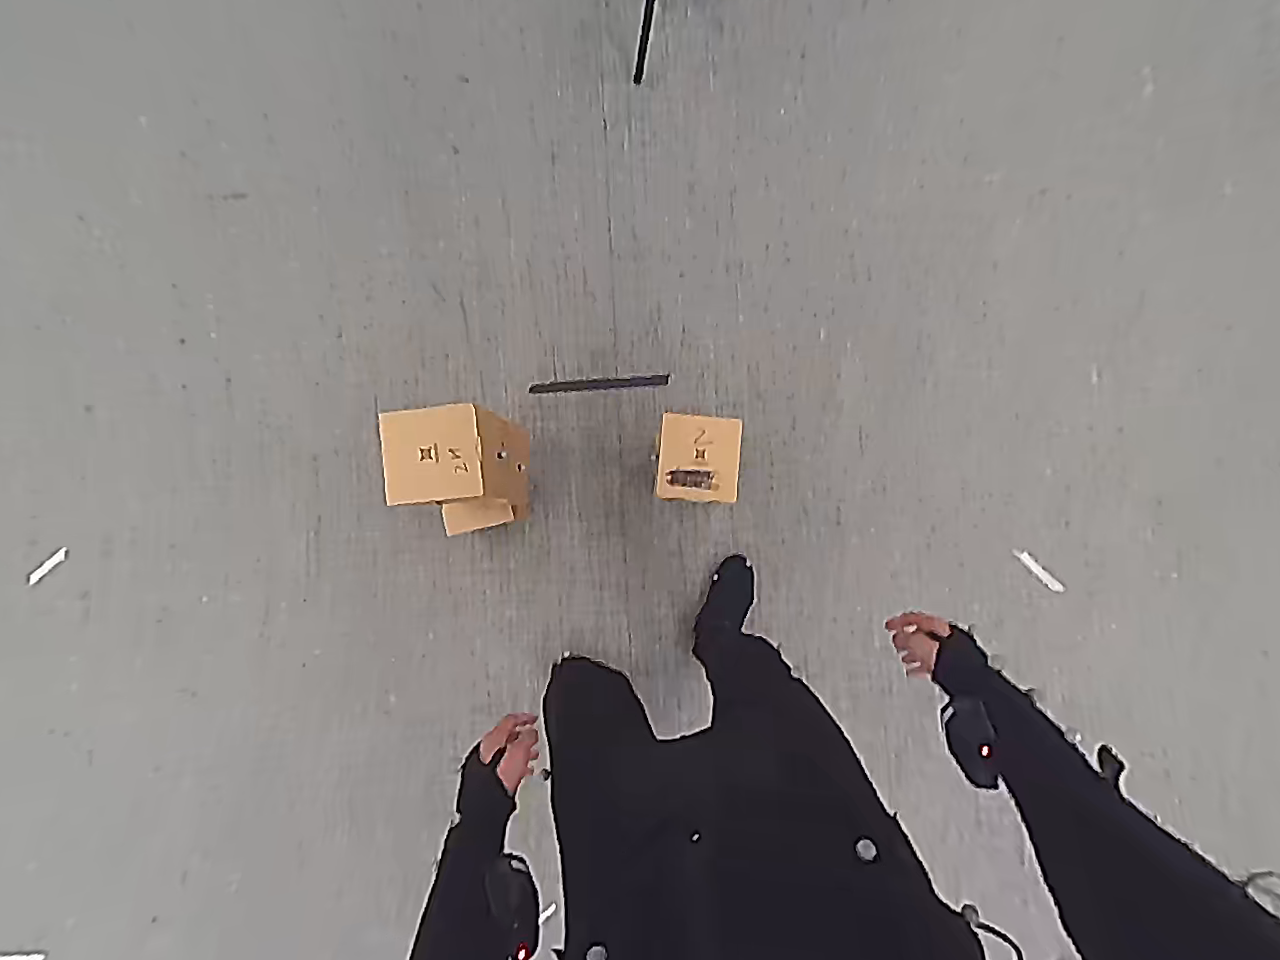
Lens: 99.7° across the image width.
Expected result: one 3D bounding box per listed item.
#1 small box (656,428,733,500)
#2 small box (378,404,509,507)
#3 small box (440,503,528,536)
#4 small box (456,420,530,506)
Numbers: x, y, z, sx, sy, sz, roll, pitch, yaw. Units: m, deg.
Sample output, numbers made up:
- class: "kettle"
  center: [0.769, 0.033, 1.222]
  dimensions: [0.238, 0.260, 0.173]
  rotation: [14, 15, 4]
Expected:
- class: "small box"
  center: [0.128, -0.034, 1.335]
  dimensions: [0.179, 0.176, 0.168]
  rotation: [-2, 88, 0]
- class: "small box"
  center: [-0.359, -0.039, 1.013]
  dimensions: [0.179, 0.176, 0.168]
  rotation: [-6, 87, 1]
- class: "small box"
  center: [-0.388, 0.034, 1.338]
  dimensions: [0.168, 0.176, 0.179]
  rotation: [-14, 88, 1]
- class: "small box"
  center: [-0.341, -0.033, 1.177]
  dimensions: [0.168, 0.176, 0.179]
  rotation: [1, 88, 2]
